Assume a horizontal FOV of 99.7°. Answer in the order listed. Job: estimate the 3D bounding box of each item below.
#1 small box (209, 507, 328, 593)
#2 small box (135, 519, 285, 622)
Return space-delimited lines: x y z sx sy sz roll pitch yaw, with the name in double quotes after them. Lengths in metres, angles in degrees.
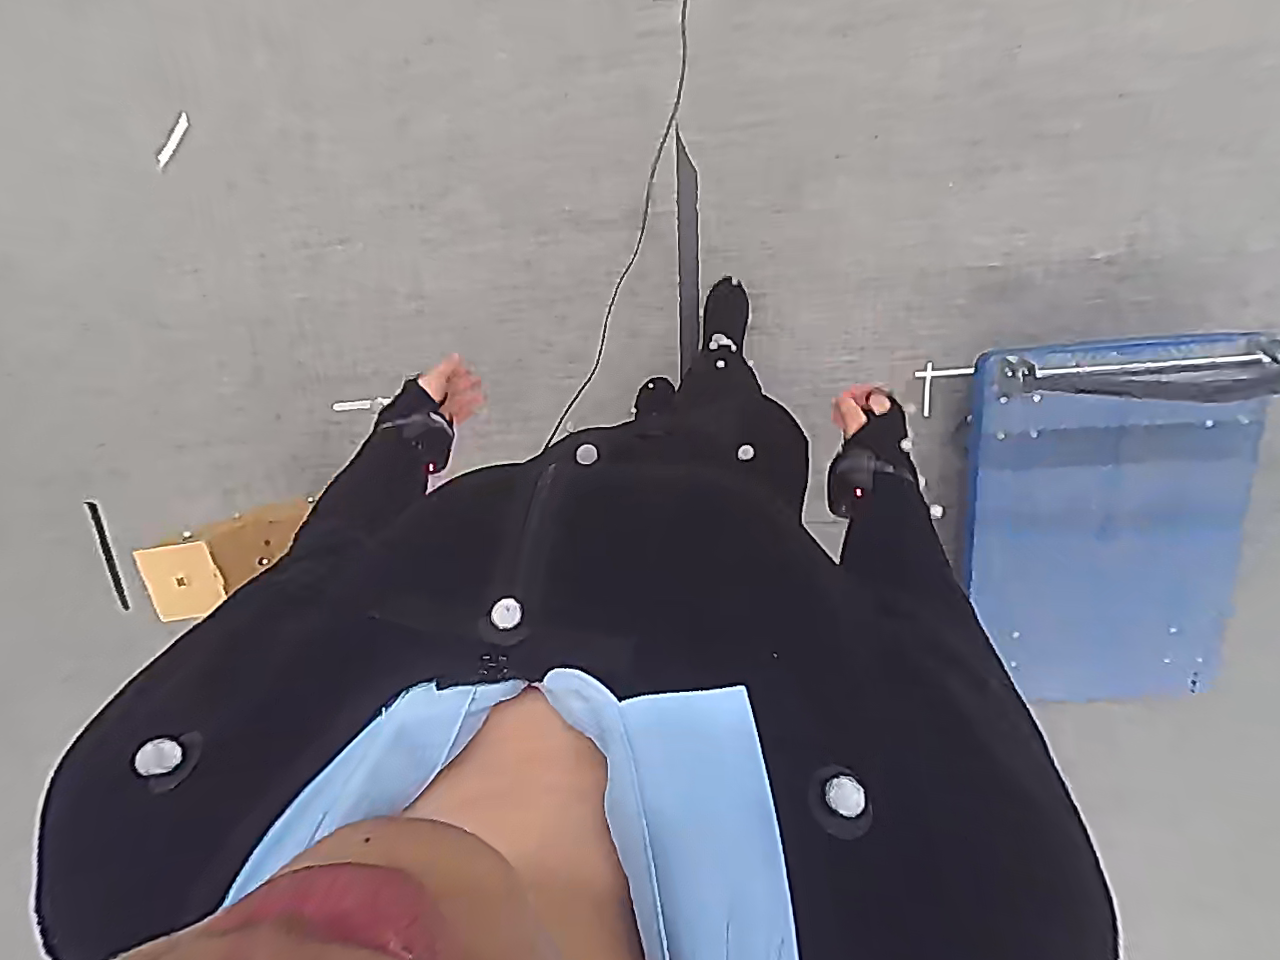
-0.932 0.171 1.367 0.179 0.176 0.168 2 105 4 "small box"
-0.947 0.197 1.207 0.179 0.176 0.168 -9 103 7 "small box"
